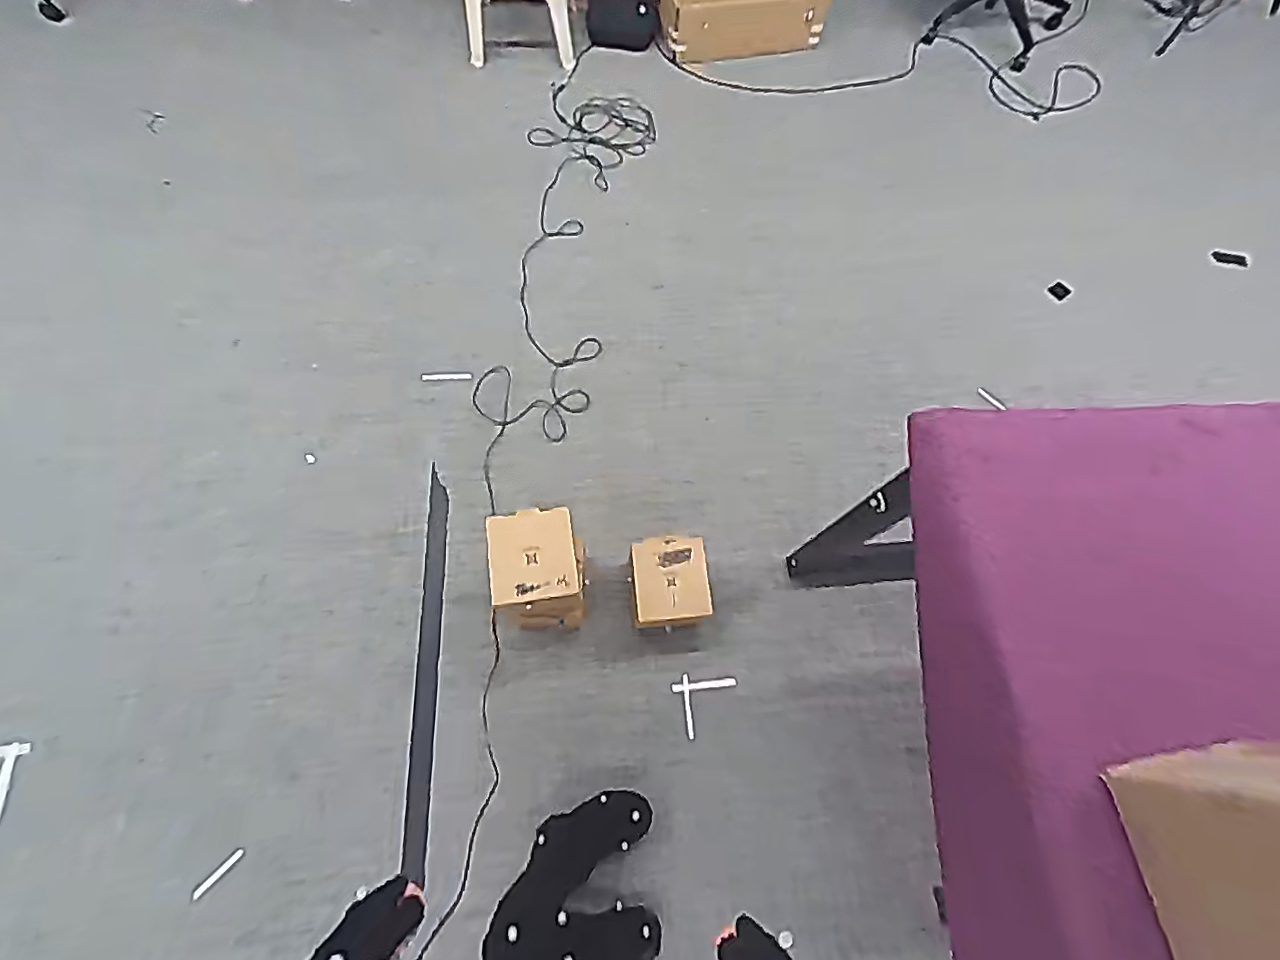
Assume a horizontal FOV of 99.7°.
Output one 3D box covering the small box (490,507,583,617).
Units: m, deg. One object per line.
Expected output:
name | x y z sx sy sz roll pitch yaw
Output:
small box | -0.209 0.172 1.109 0.168 0.176 0.179 -7 69 -7

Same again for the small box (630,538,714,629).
small box | 0.067 0.247 1.269 0.168 0.176 0.179 -4 70 -5

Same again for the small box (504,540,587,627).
small box | -0.212 0.243 1.257 0.168 0.176 0.179 2 67 -4
